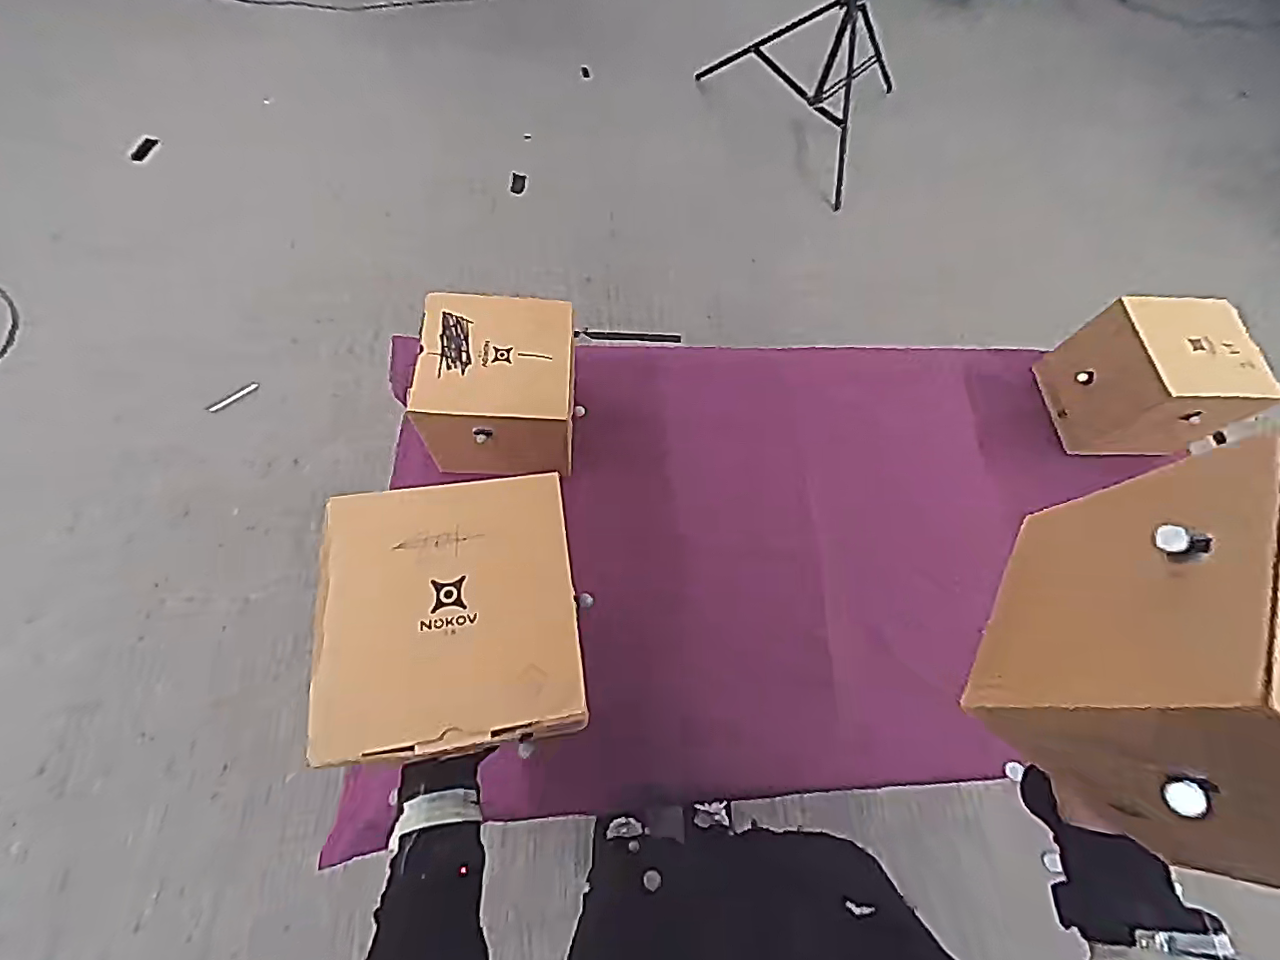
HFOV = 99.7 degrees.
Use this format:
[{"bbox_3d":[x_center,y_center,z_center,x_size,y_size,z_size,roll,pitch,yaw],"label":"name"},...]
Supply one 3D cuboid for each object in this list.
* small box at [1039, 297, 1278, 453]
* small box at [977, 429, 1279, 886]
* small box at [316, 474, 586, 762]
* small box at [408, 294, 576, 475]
[{"bbox_3d":[0.742,-0.148,0.804,0.179,0.176,0.168,0,67,-7],"label":"small box"},{"bbox_3d":[0.342,0.110,0.316,0.168,0.176,0.179,37,64,4],"label":"small box"},{"bbox_3d":[-0.135,0.116,0.437,0.168,0.176,0.179,-6,63,-11],"label":"small box"},{"bbox_3d":[-0.174,-0.113,0.695,0.179,0.176,0.168,2,68,-6],"label":"small box"}]
